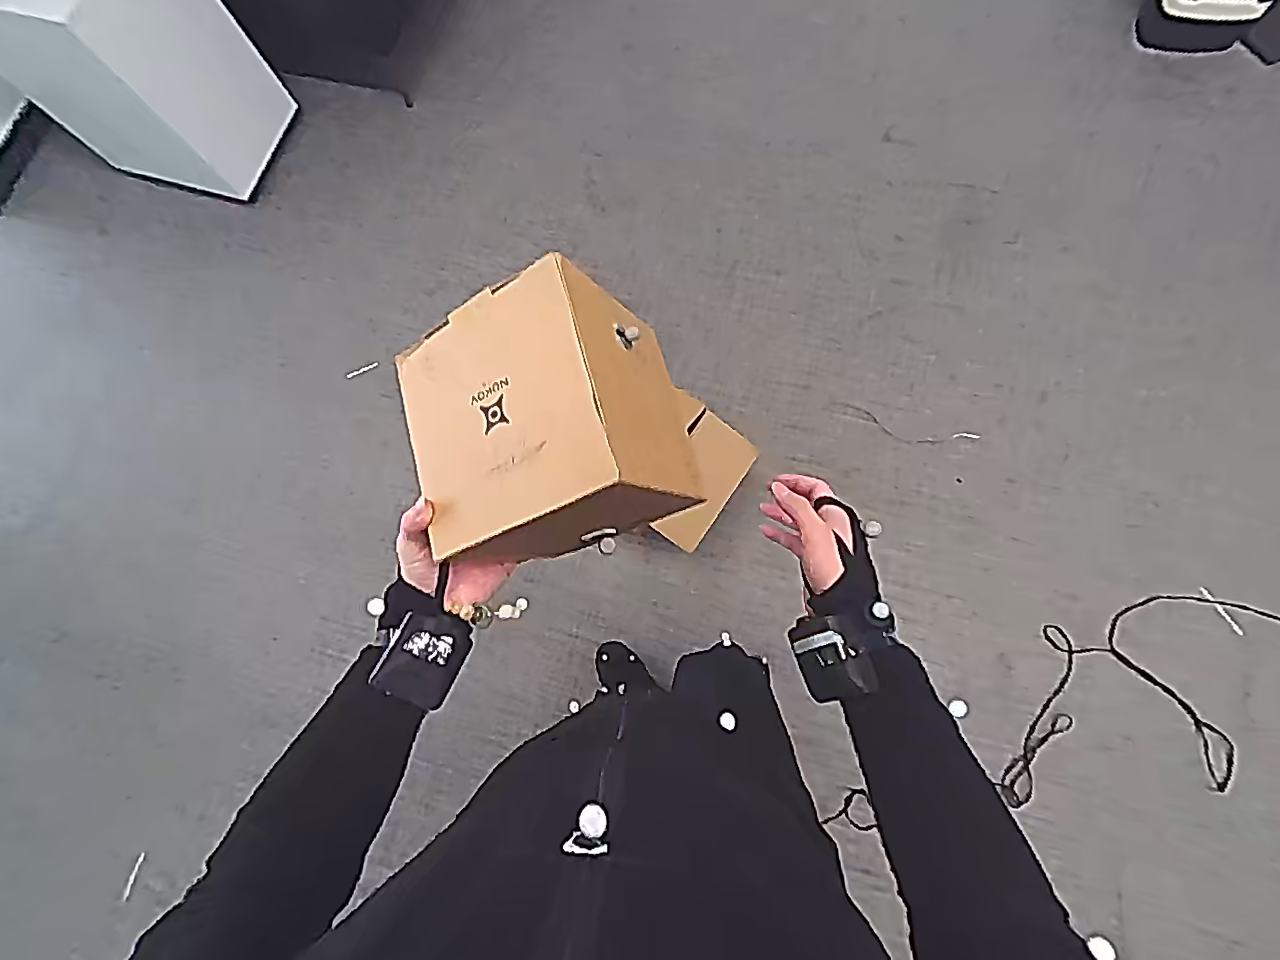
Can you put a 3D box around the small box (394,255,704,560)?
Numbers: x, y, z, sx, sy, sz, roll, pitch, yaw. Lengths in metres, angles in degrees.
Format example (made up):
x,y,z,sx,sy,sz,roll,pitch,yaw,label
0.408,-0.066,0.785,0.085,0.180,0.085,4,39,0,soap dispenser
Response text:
x,y,z,sx,sy,sz,roll,pitch,yaw,label
-0.068,-0.037,0.446,0.168,0.176,0.179,-22,74,25,small box
